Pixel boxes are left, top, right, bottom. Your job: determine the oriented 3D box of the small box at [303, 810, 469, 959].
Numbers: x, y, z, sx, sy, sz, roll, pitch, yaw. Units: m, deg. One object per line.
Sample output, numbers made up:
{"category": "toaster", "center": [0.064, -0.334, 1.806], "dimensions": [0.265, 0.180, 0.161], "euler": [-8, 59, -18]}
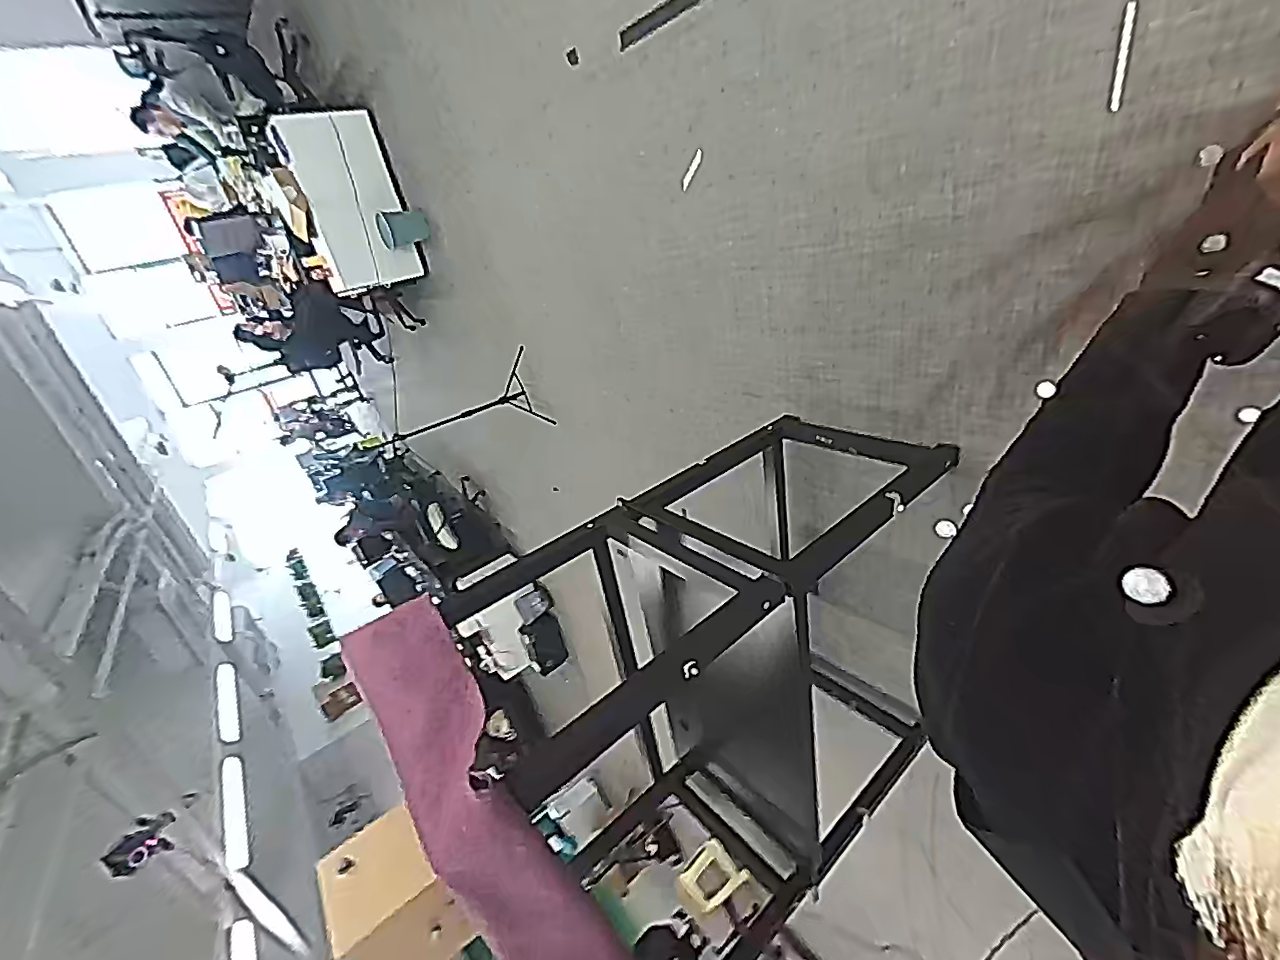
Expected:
{"category": "small box", "center": [-0.390, 0.659, 0.842], "dimensions": [0.179, 0.176, 0.168], "euler": [19, 131, 50]}
